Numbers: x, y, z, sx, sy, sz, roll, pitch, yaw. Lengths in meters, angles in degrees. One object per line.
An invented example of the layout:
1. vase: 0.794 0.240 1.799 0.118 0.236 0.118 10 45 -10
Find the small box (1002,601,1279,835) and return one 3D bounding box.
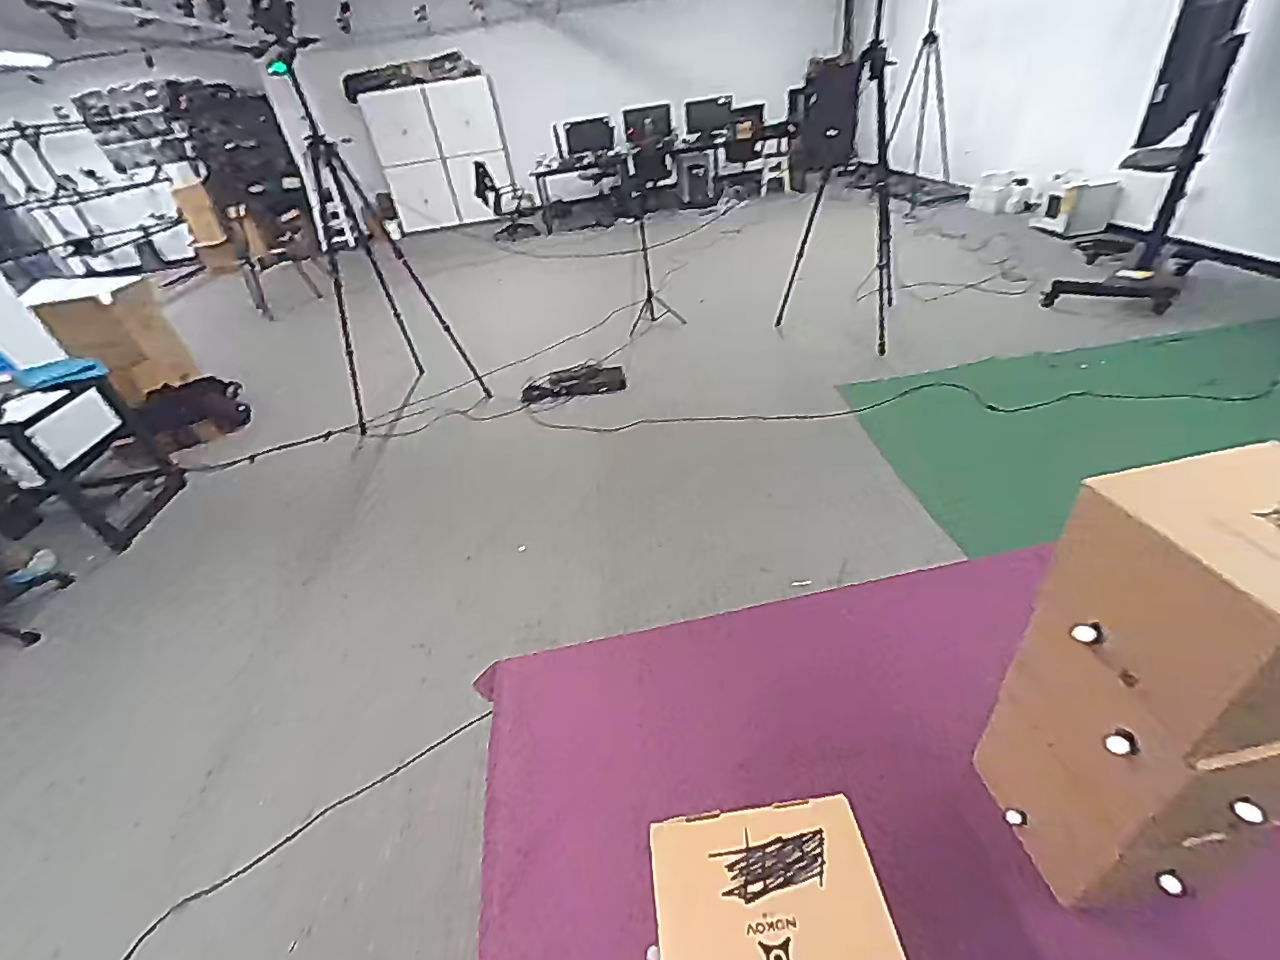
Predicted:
1. small box: 0.511 0.225 0.541 0.168 0.176 0.179 -10 36 -2

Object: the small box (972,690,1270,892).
1. small box: 0.537 0.355 0.639 0.168 0.176 0.179 -10 37 -2

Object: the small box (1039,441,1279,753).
1. small box: 0.485 0.094 0.447 0.179 0.176 0.168 -12 35 -1

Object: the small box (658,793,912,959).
1. small box: 0.110 0.382 0.425 0.168 0.176 0.179 -10 38 2
